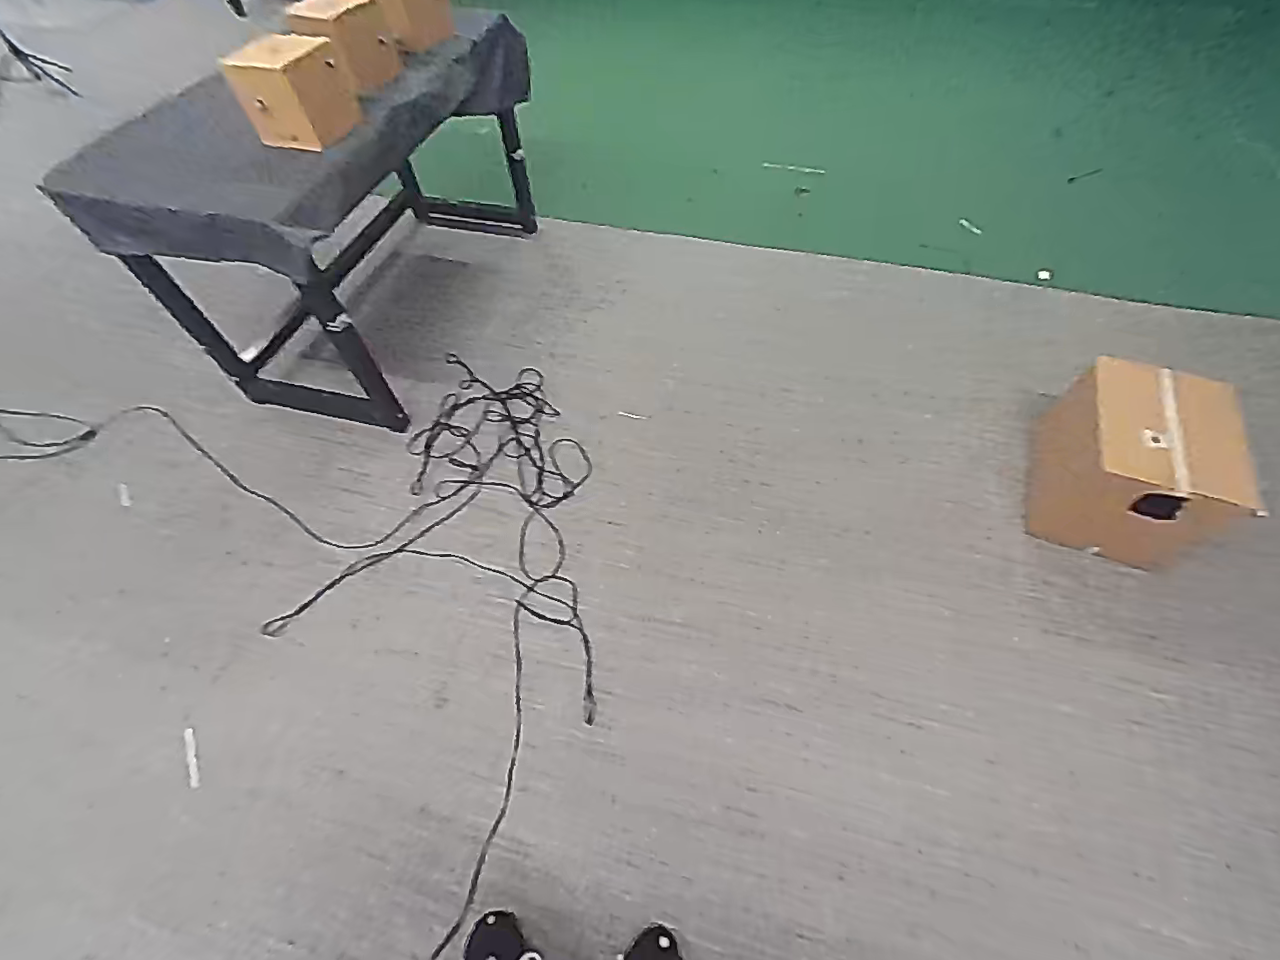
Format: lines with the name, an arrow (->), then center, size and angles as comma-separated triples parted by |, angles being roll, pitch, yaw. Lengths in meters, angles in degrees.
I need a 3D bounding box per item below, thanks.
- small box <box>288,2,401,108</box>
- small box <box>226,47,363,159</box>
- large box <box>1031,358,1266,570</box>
small box -> -0.761, -1.119, 1.423 | 0.168, 0.176, 0.179 | 20, 60, 17
small box -> -0.787, -0.874, 1.257 | 0.168, 0.176, 0.179 | 12, 57, 12
large box -> 1.270, -0.041, 1.408 | 0.320, 0.320, 0.408 | 17, 60, 14
